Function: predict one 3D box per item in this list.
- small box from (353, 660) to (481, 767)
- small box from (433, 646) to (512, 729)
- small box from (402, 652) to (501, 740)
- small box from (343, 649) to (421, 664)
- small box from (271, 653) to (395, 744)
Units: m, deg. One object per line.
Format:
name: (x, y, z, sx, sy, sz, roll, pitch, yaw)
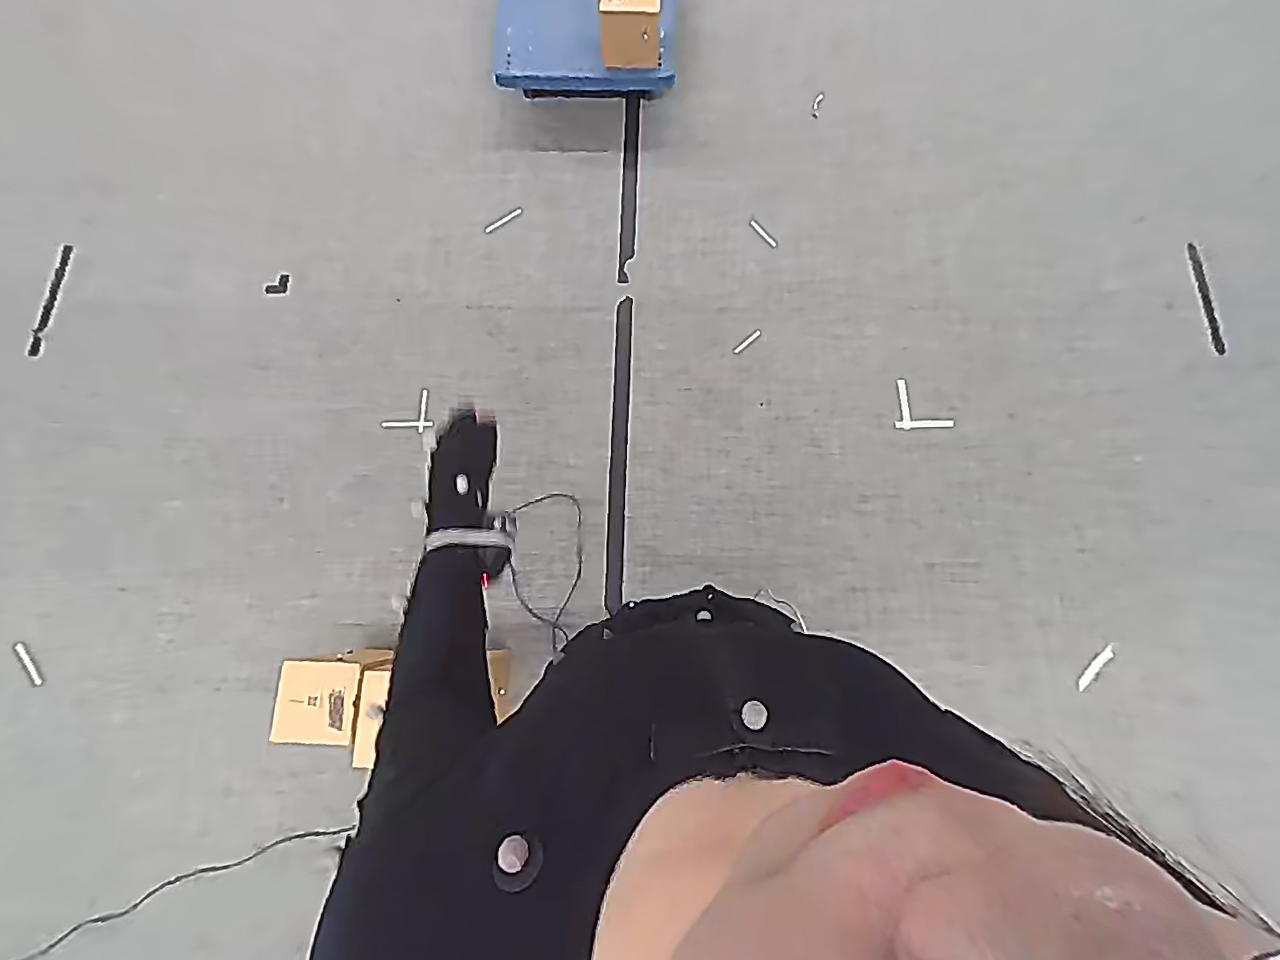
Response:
small box: (-0.428, 0.451, 1.064, 0.179, 0.176, 0.168, 1, 77, -1)
small box: (-0.431, 0.526, 1.385, 0.168, 0.176, 0.179, 1, 76, 0)
small box: (-0.430, 0.484, 1.227, 0.179, 0.176, 0.168, 1, 77, 0)
small box: (-0.682, 0.528, 1.387, 0.179, 0.176, 0.168, 3, 77, 2)
small box: (-0.684, 0.488, 1.227, 0.179, 0.176, 0.168, 2, 77, 2)
